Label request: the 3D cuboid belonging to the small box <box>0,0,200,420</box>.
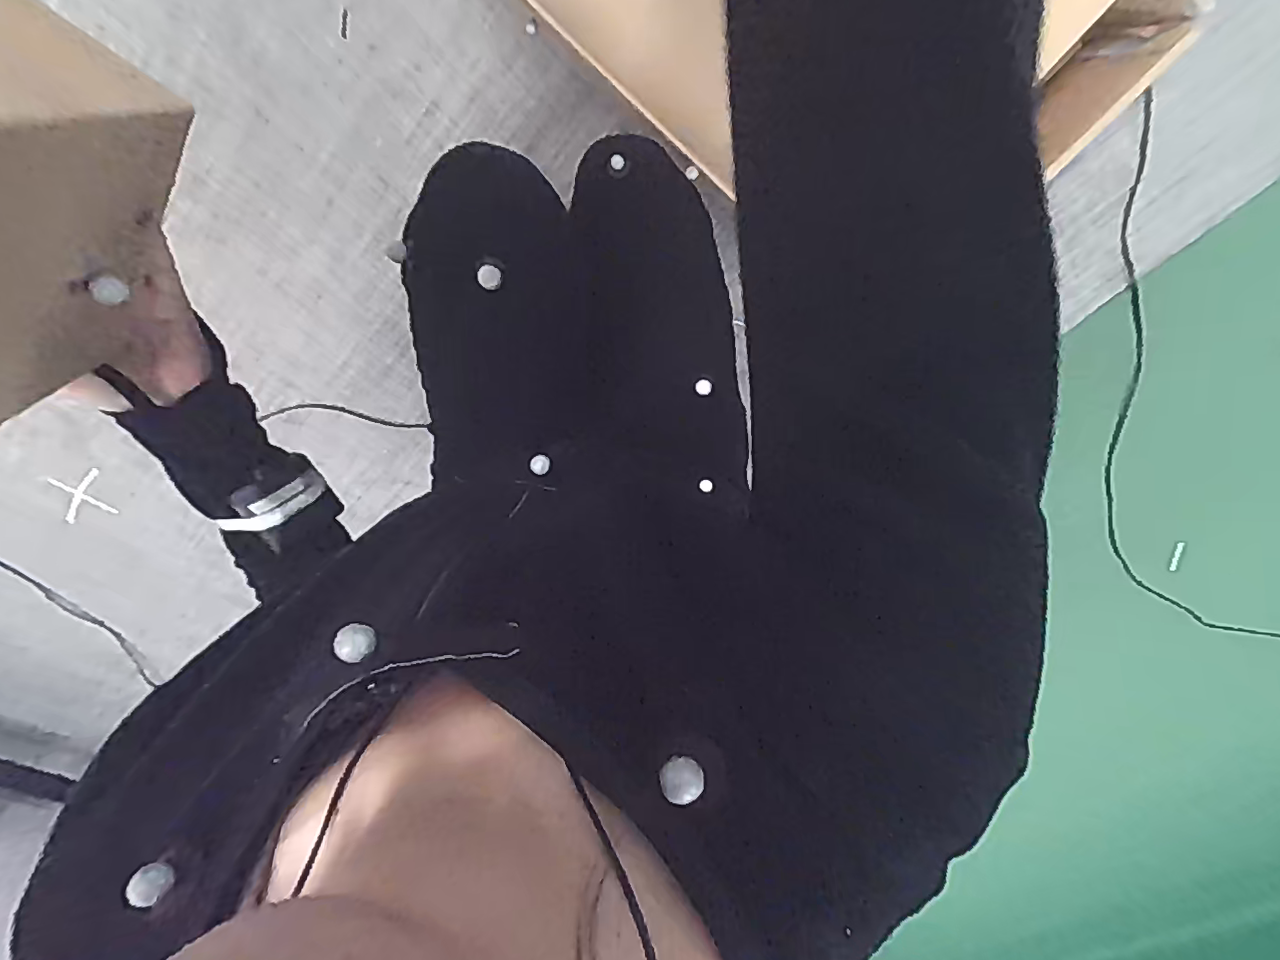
[{"bbox_3d":[-0.333,-0.122,0.211,0.179,0.176,0.168,31,119,-26],"label":"small box"}]
